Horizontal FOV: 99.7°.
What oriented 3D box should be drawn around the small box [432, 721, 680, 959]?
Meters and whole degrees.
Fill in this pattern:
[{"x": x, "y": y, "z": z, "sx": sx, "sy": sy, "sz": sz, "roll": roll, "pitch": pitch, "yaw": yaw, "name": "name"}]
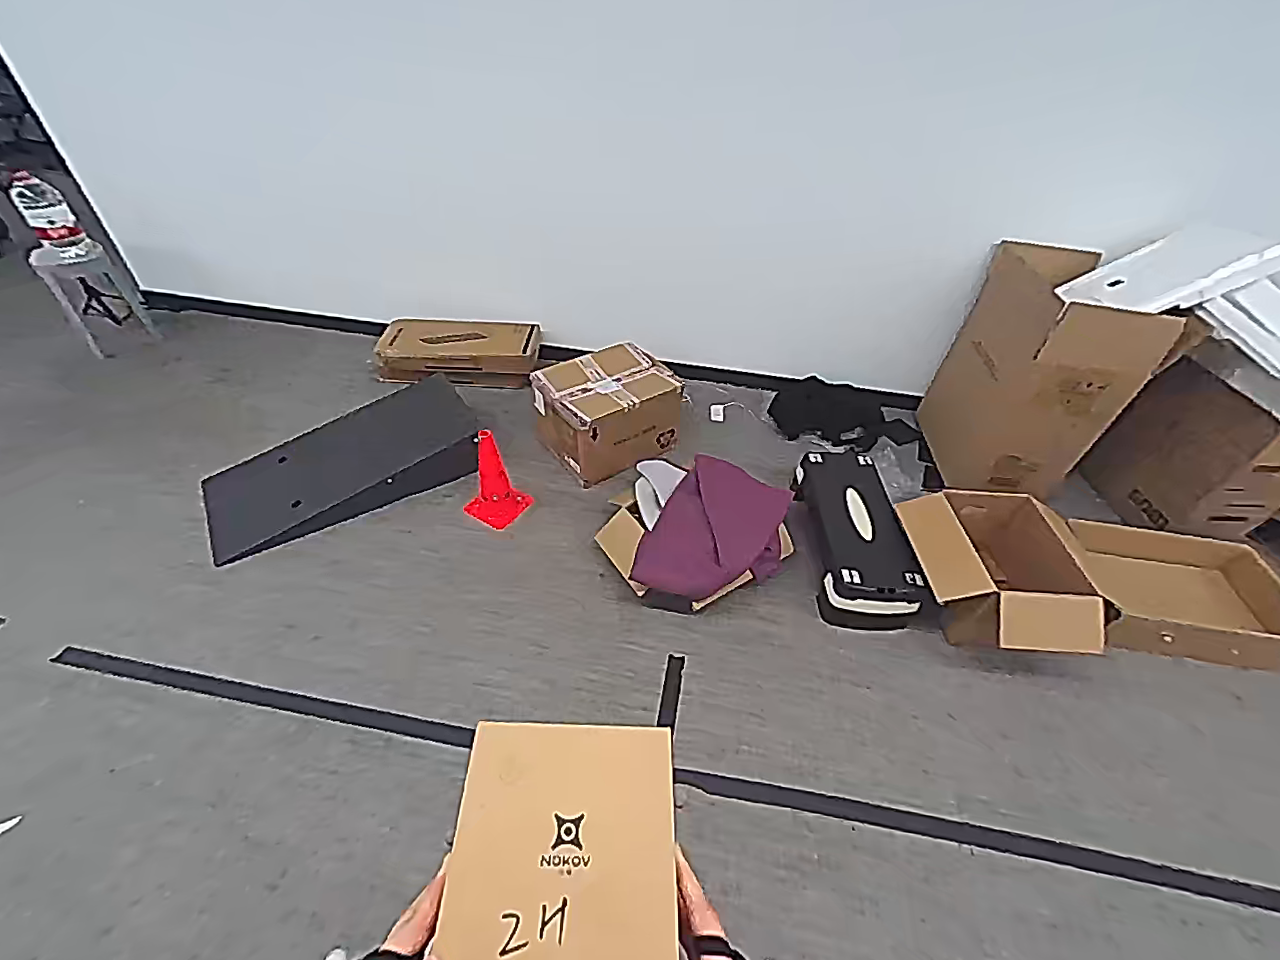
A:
[{"x": -0.060, "y": 0.326, "z": 0.456, "sx": 0.168, "sy": 0.176, "sz": 0.179, "roll": 3, "pitch": 46, "yaw": -3, "name": "small box"}]
